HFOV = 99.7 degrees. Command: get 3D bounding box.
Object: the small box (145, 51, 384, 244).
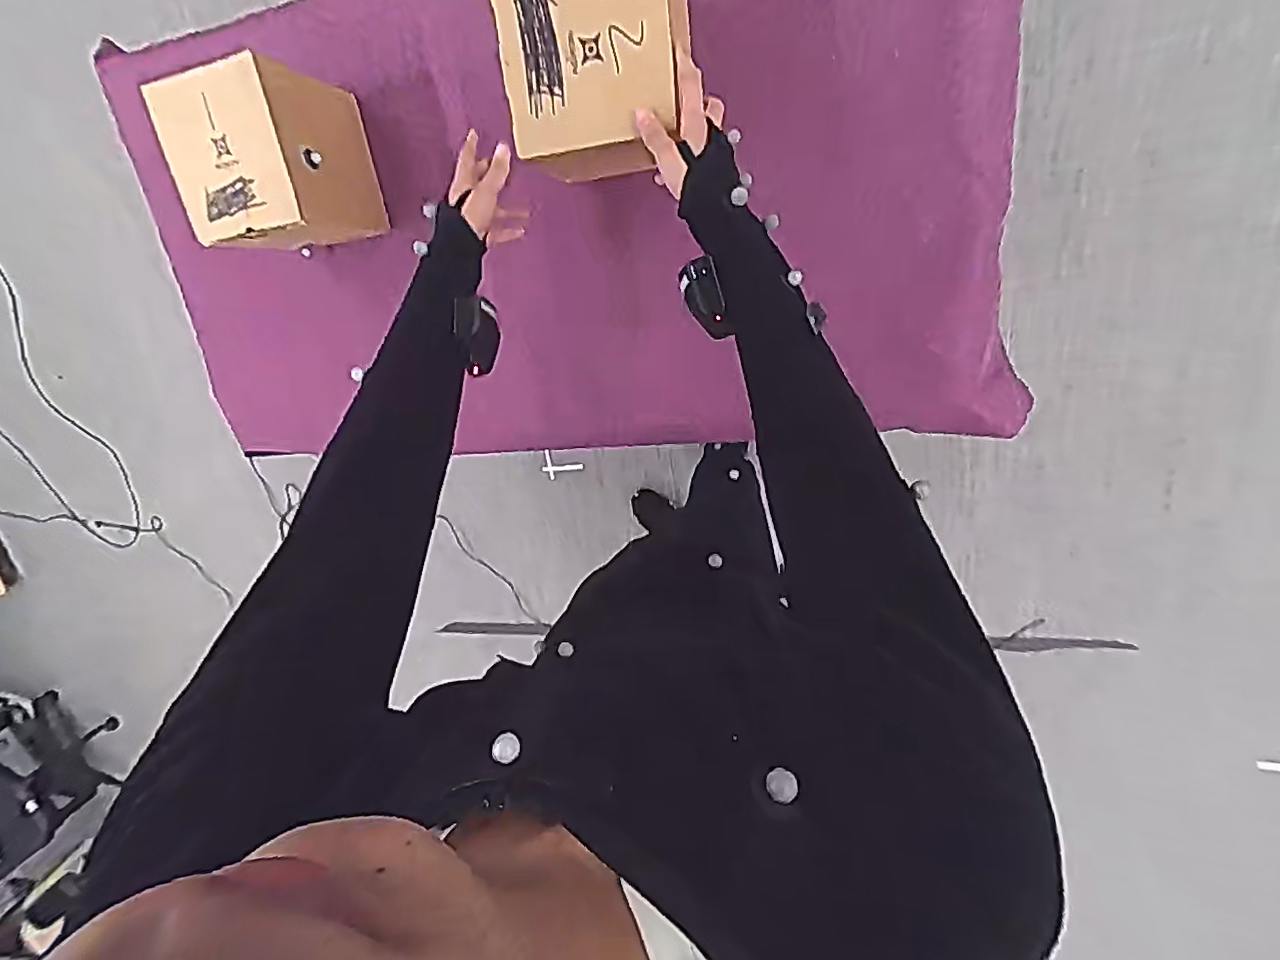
[{"bbox_3d":[-0.474,-0.417,0.715,0.168,0.176,0.179,-4,109,14],"label":"small box"}]
